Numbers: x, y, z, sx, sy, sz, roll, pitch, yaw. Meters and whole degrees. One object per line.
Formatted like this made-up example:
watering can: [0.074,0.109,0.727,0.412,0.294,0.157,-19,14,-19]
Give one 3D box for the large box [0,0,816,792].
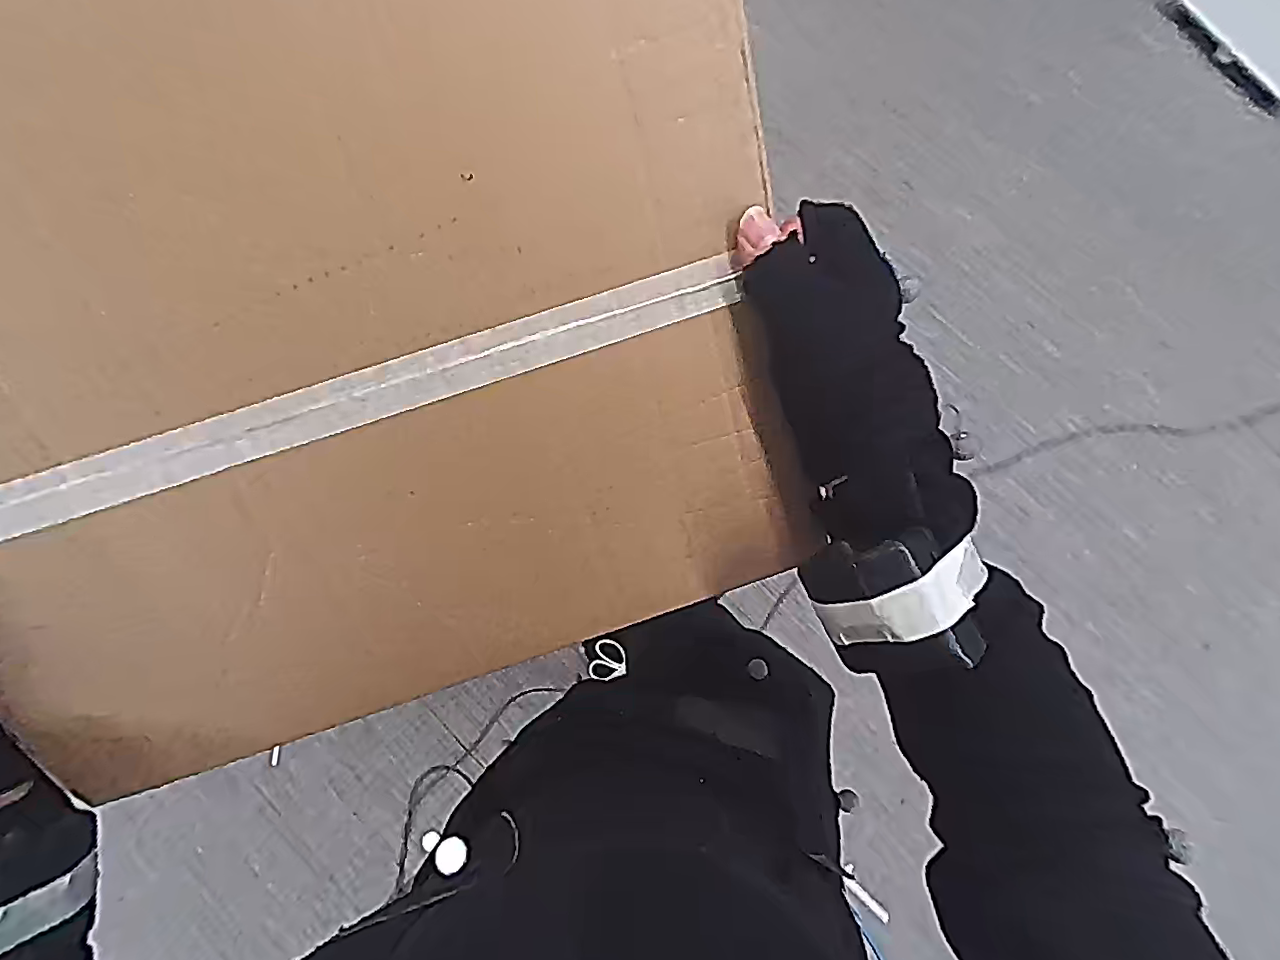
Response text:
large box: [-0.148,-0.080,0.372,0.408,0.320,0.320,-17,114,-2]
